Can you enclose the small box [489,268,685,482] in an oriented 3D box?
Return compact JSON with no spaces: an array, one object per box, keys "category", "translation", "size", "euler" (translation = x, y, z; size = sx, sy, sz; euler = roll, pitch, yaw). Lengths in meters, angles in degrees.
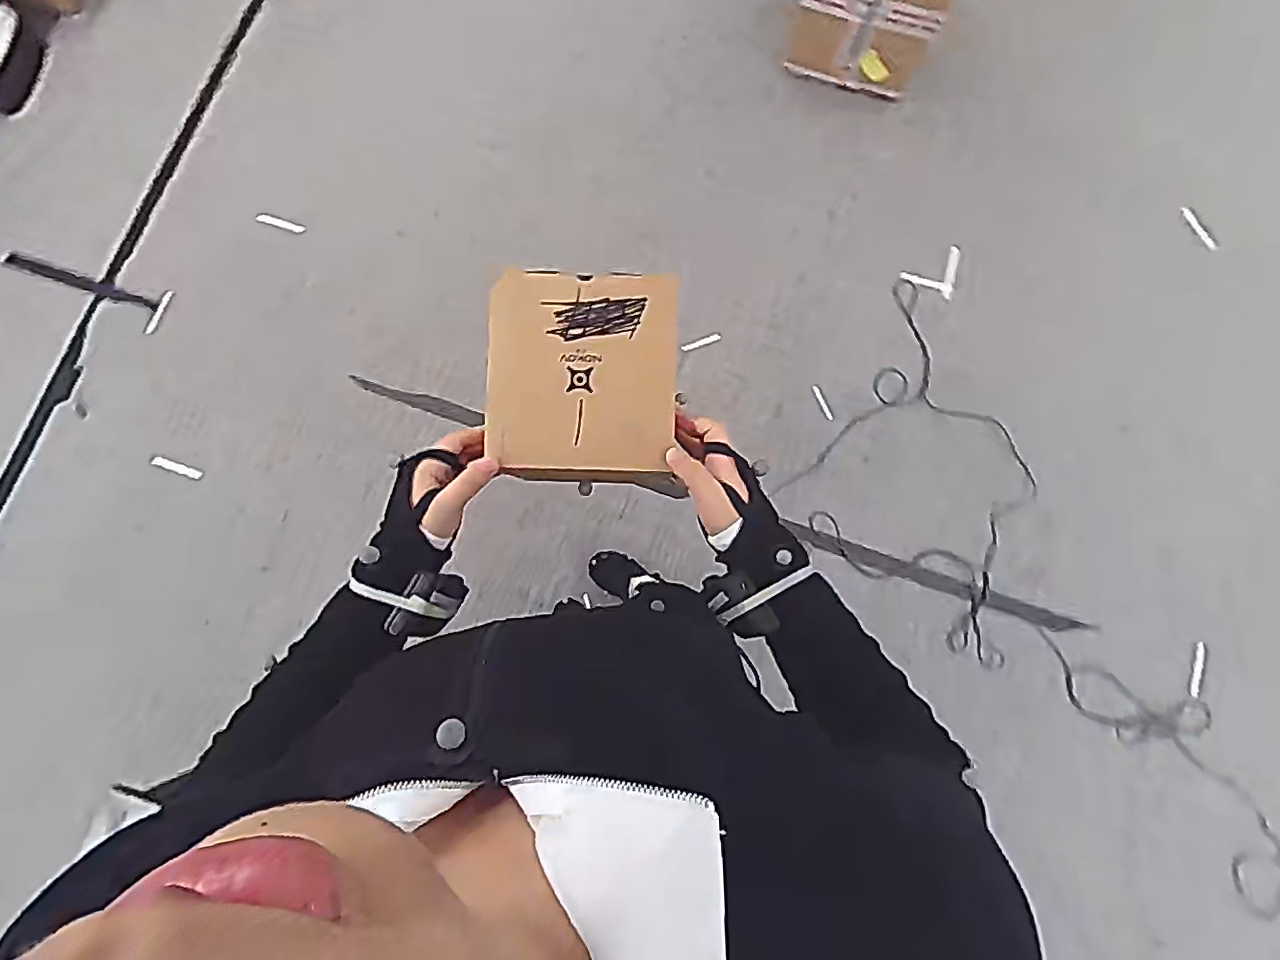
[{"category":"small box","translation":[-0.045,-0.093,0.551],"size":[0.168,0.176,0.179],"euler":[2,87,1]}]
